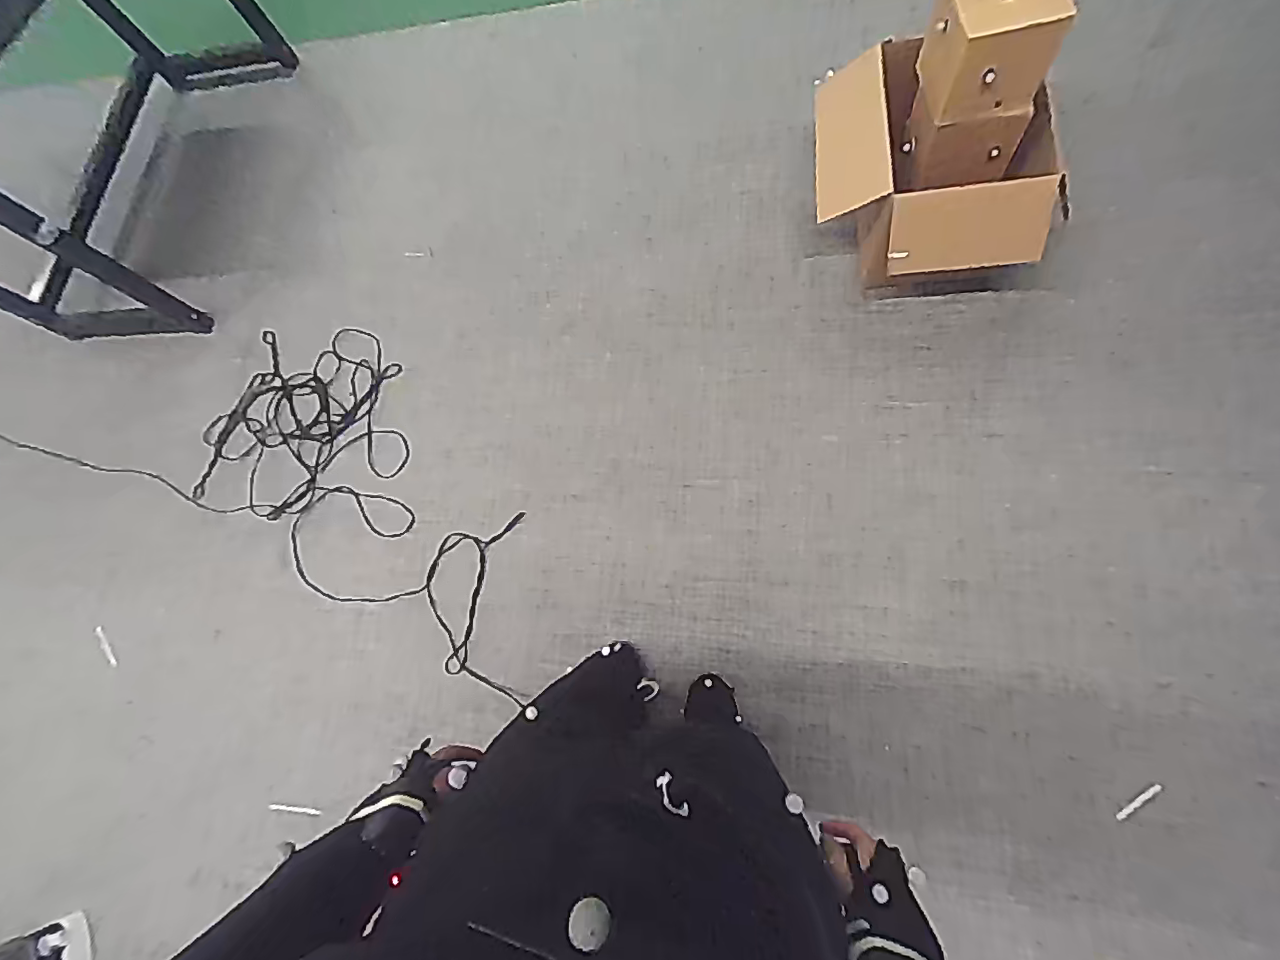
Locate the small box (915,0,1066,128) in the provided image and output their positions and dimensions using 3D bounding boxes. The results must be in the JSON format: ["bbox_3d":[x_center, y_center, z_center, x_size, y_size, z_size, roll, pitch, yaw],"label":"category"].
[{"bbox_3d":[0.632,-0.789,1.000,0.168,0.176,0.179,-7,70,9],"label":"small box"}]
